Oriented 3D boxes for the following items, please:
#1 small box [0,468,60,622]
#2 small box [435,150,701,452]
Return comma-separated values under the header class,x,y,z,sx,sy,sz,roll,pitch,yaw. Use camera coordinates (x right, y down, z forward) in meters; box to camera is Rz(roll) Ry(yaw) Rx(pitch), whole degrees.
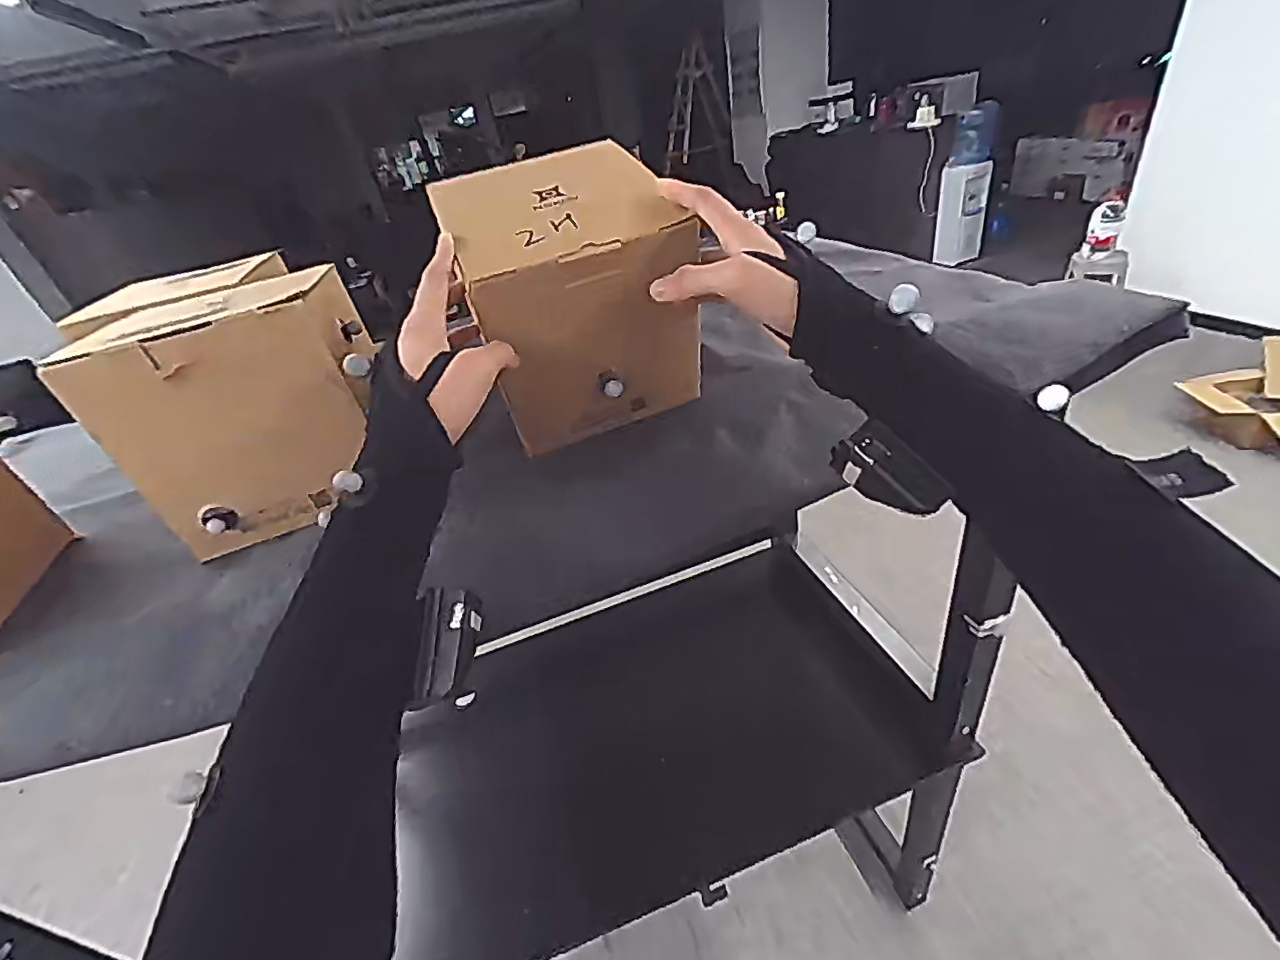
class,x,y,z,sx,sy,sz,roll,pitch,yaw
small box,-0.580,0.056,0.372,0.168,0.176,0.179,-21,36,-12
small box,-0.058,-0.155,0.470,0.168,0.176,0.179,-21,50,-11
